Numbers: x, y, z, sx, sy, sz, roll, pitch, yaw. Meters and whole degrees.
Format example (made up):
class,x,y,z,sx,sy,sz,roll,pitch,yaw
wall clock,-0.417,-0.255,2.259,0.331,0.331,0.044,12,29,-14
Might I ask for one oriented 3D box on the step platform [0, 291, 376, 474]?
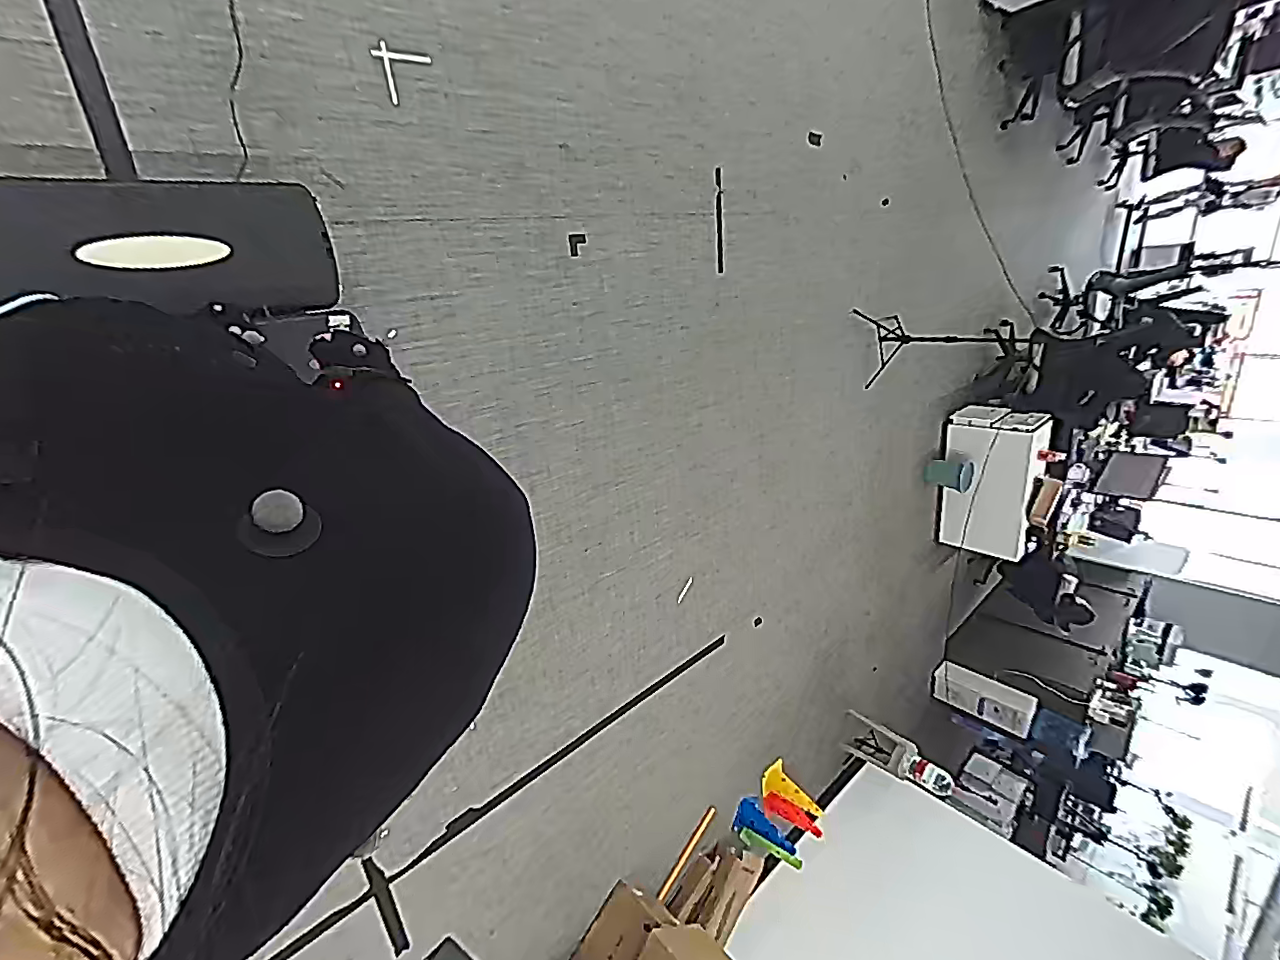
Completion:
class,x,y,z,sx,sy,sz,roll,pitch,yaw
step platform,-0.972,-0.240,1.207,0.684,0.204,0.286,-22,114,-35
